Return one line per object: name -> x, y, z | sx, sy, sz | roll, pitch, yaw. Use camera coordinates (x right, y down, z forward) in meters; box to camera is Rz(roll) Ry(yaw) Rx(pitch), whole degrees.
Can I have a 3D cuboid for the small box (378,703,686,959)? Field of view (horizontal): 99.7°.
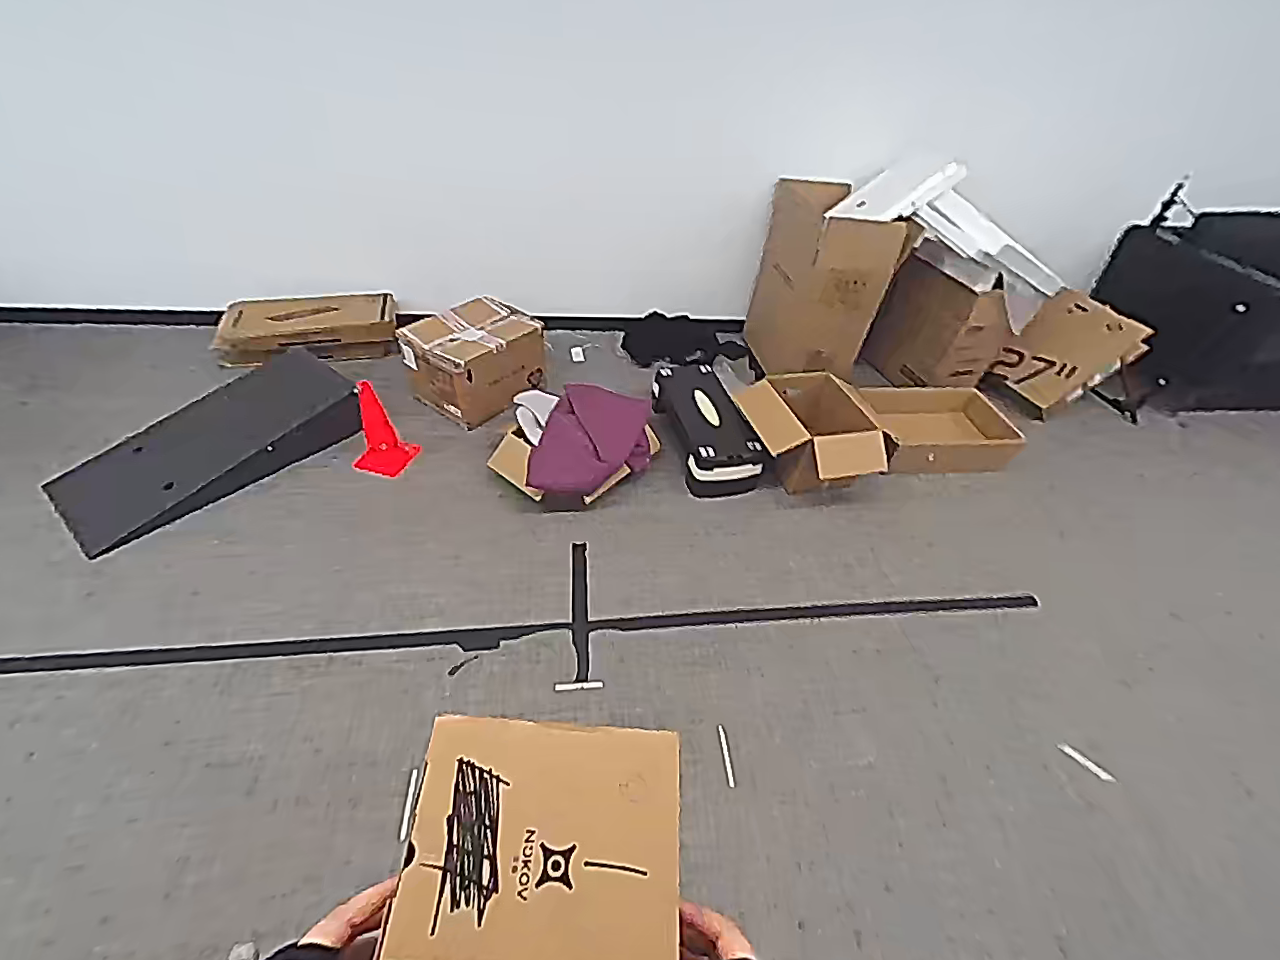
small box -> -0.065, 0.279, 0.401 | 0.179, 0.176, 0.168 | 6, 53, -4
